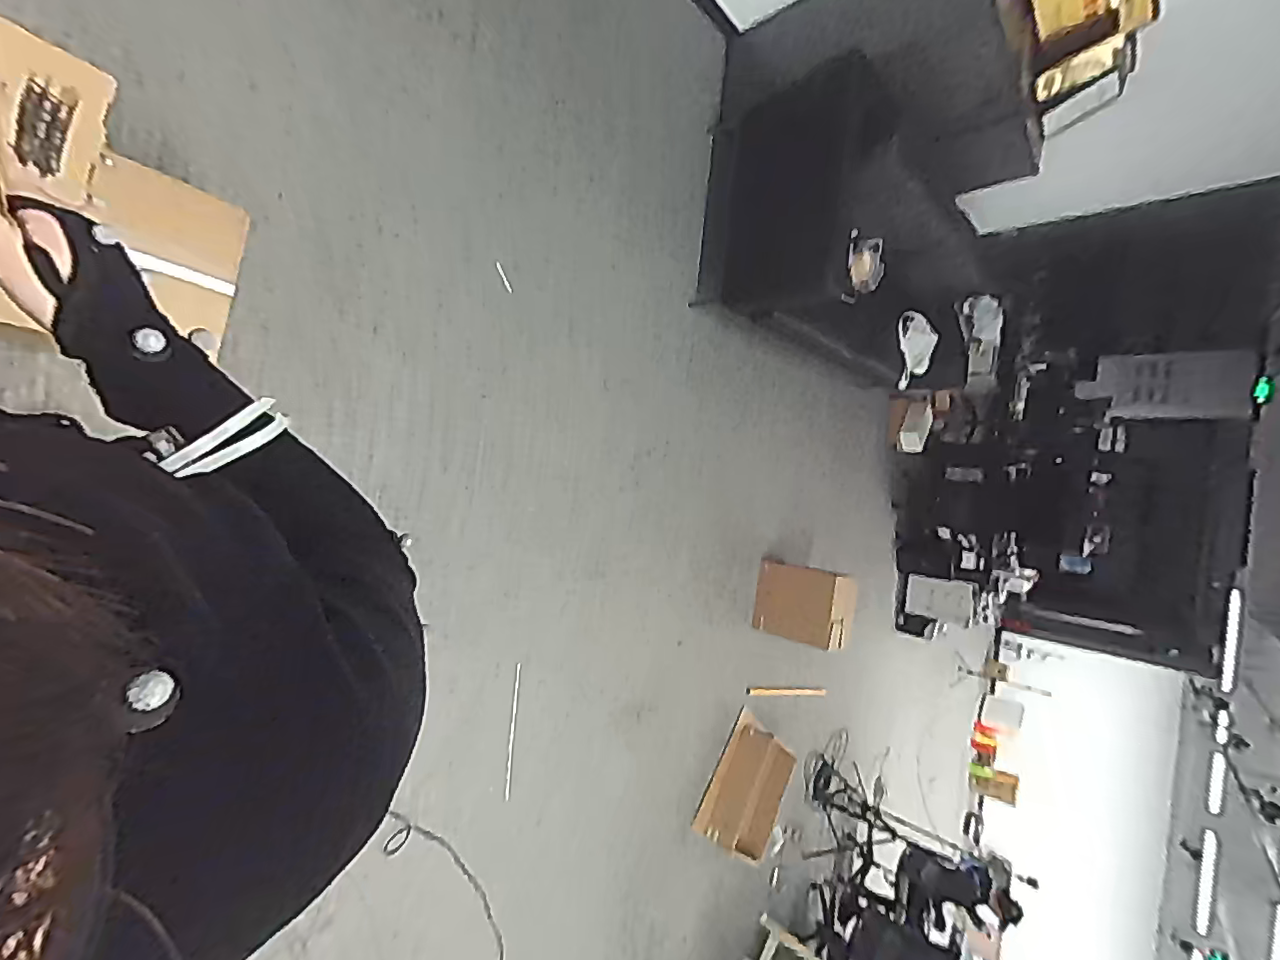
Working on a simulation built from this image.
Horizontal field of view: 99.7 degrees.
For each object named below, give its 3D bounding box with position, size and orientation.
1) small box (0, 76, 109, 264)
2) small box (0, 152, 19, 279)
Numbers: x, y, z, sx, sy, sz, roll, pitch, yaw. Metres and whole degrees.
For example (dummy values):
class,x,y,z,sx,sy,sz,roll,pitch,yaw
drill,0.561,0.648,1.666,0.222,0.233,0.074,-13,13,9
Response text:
class,x,y,z,sx,sy,sz,roll,pitch,yaw
small box,-0.857,-0.419,0.732,0.168,0.176,0.179,14,82,-48
small box,-0.493,-0.211,0.297,0.179,0.176,0.168,-11,111,-49
